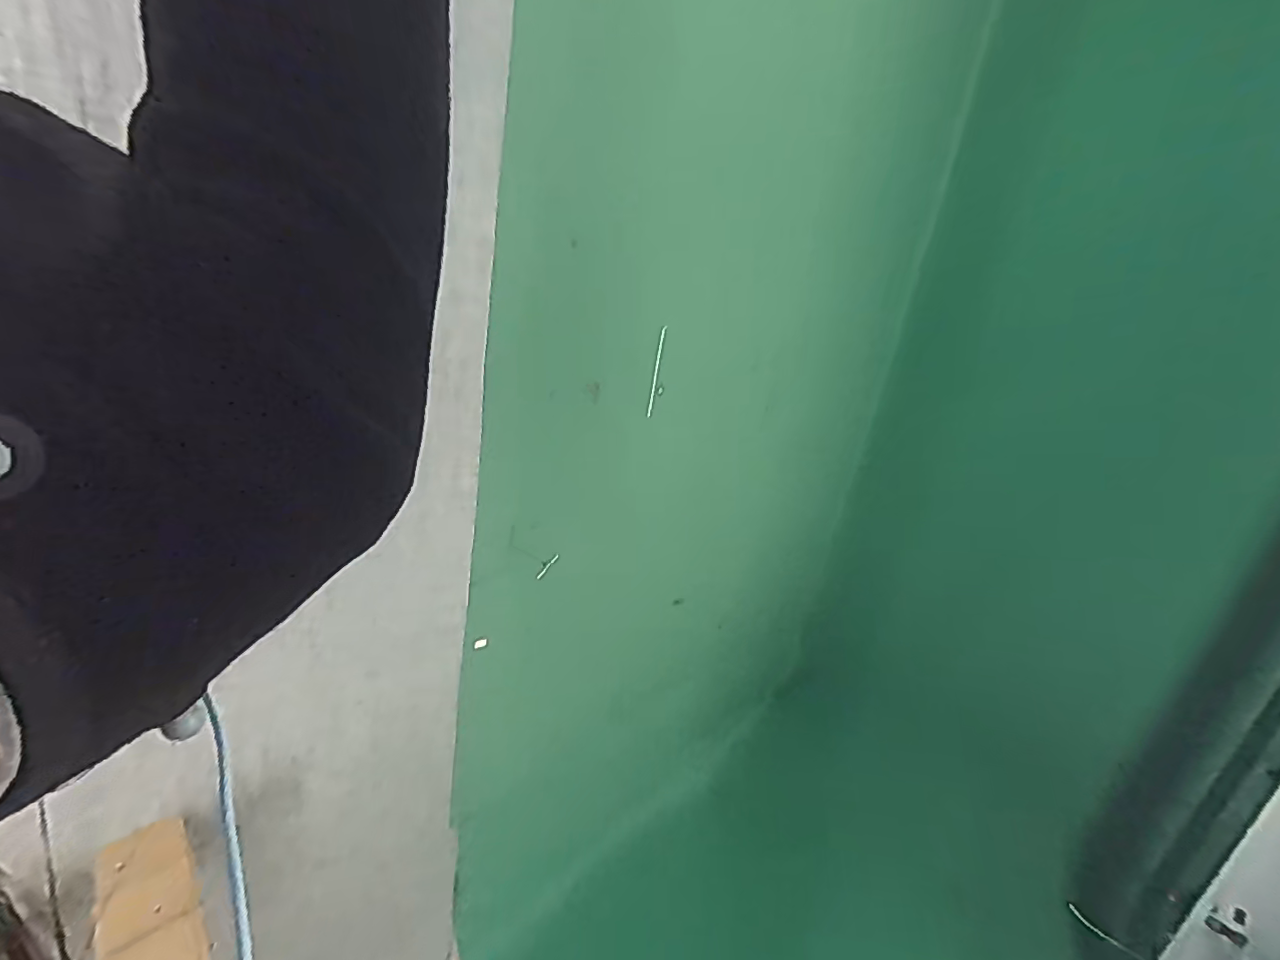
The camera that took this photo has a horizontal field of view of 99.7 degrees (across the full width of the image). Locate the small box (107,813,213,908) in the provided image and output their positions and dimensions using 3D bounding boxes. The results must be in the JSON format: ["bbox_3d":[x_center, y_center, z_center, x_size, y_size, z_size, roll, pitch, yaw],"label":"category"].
[{"bbox_3d":[-1.249,1.025,1.404,0.179,0.176,0.168,-17,121,-44],"label":"small box"}]

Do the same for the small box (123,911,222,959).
[{"bbox_3d":[-1.022,1.115,1.181,0.179,0.176,0.168,-14,120,-44],"label":"small box"}]

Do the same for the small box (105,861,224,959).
[{"bbox_3d":[-1.136,1.074,1.294,0.179,0.176,0.168,-17,120,-43],"label":"small box"}]
